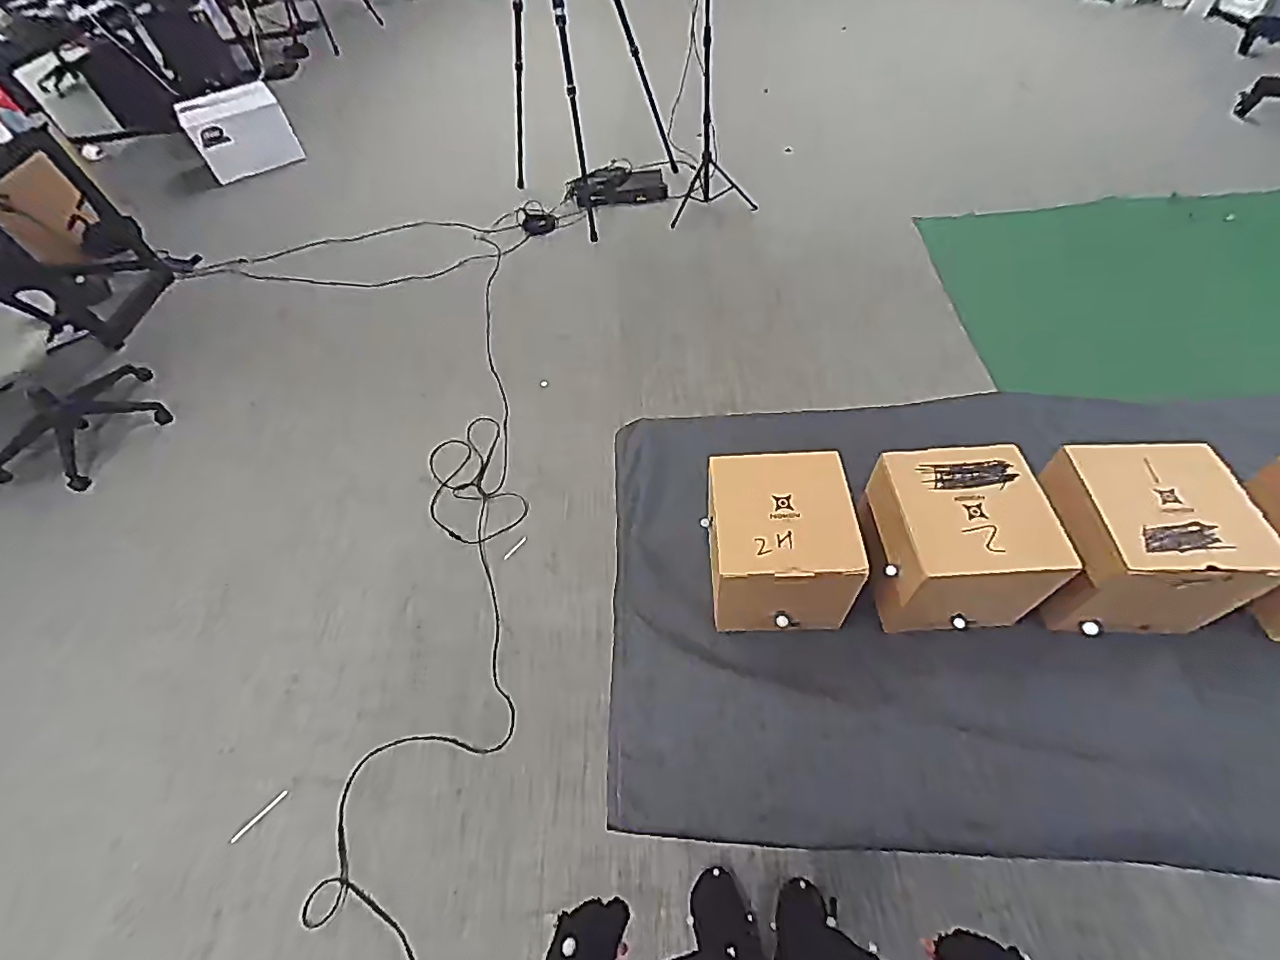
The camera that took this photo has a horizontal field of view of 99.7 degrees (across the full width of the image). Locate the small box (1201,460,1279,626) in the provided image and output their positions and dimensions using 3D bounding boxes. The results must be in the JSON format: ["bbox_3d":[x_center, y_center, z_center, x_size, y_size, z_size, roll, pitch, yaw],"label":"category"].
[{"bbox_3d":[0.848,0.078,0.634,0.168,0.176,0.179,-2,53,5],"label":"small box"}]

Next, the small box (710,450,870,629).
[{"bbox_3d":[0.180,0.081,0.709,0.168,0.176,0.179,-3,54,5],"label":"small box"}]
